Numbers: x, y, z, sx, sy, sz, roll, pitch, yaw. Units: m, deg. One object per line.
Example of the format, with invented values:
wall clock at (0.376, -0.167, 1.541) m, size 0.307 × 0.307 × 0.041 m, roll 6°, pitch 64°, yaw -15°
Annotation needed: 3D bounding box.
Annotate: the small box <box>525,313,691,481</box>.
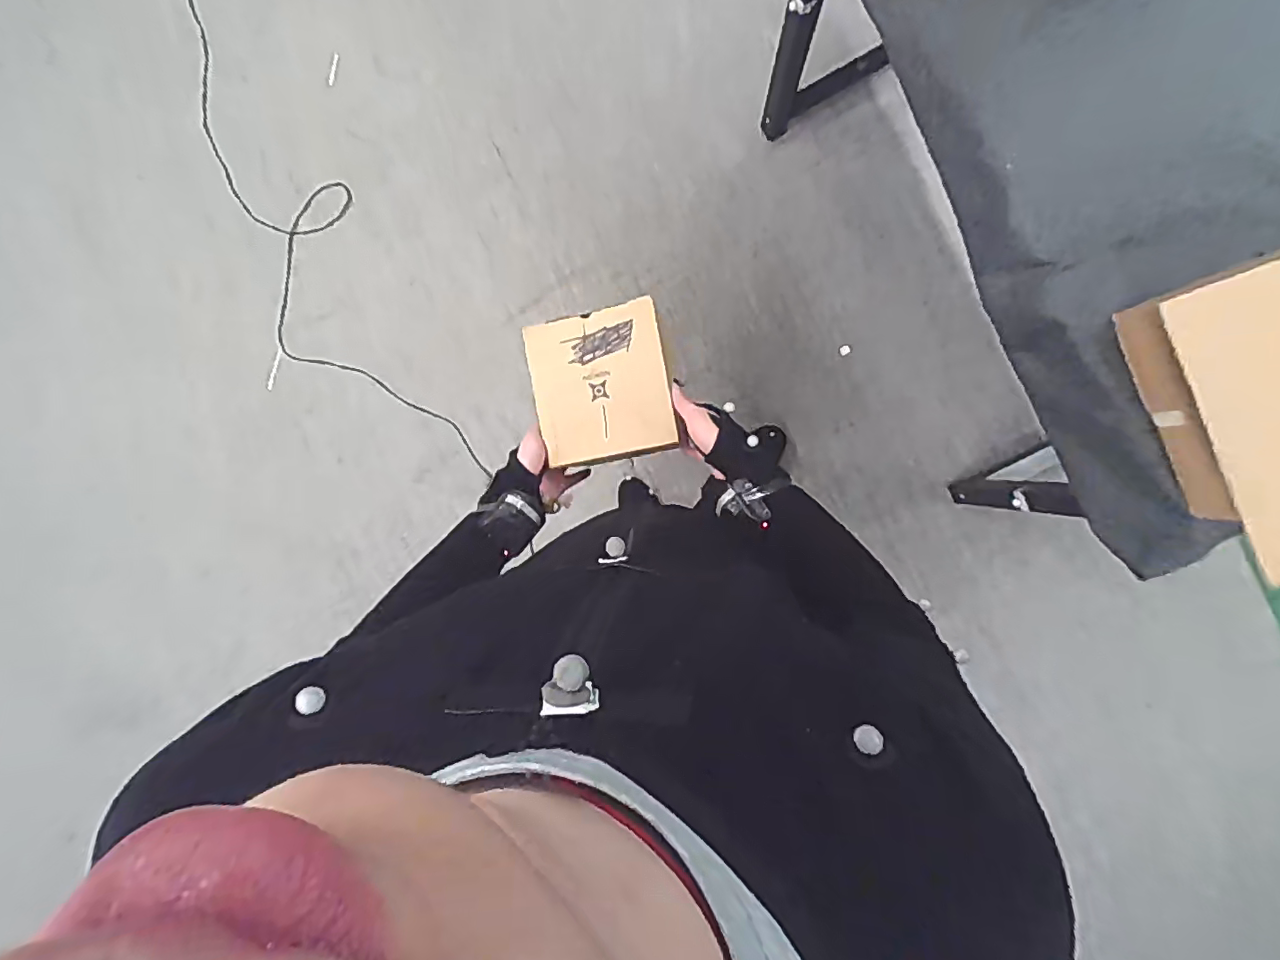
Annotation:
small box at (-0.032, -0.100, 0.721) m, size 0.168 × 0.176 × 0.179 m, roll -11°, pitch 92°, yaw 12°
